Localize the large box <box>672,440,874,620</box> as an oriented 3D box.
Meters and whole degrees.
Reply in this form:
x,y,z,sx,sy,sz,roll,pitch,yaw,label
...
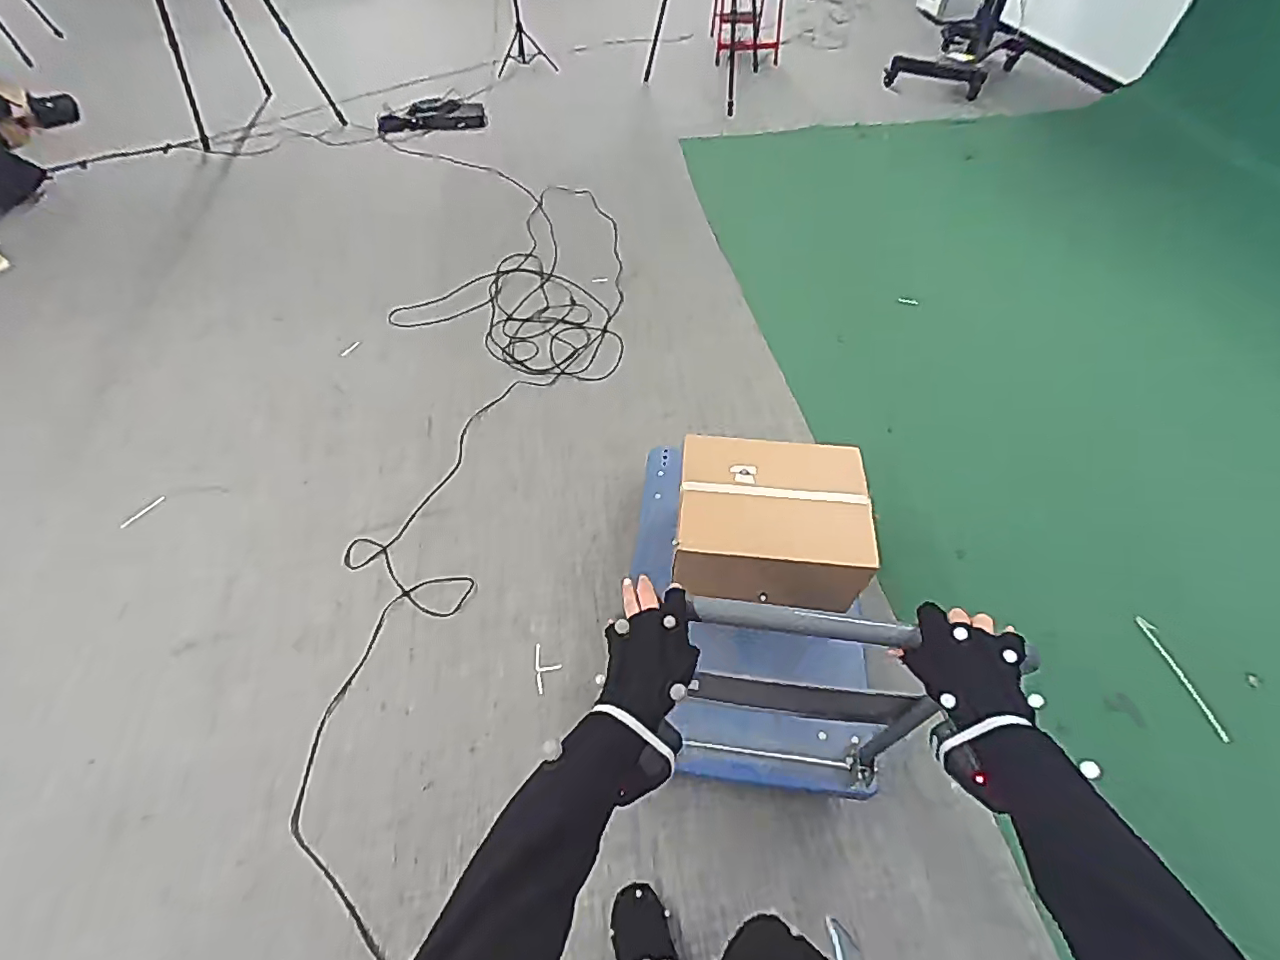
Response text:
x,y,z,sx,sy,sz,roll,pitch,yaw,label
0.291,0.127,1.301,0.408,0.320,0.320,4,54,4,large box
